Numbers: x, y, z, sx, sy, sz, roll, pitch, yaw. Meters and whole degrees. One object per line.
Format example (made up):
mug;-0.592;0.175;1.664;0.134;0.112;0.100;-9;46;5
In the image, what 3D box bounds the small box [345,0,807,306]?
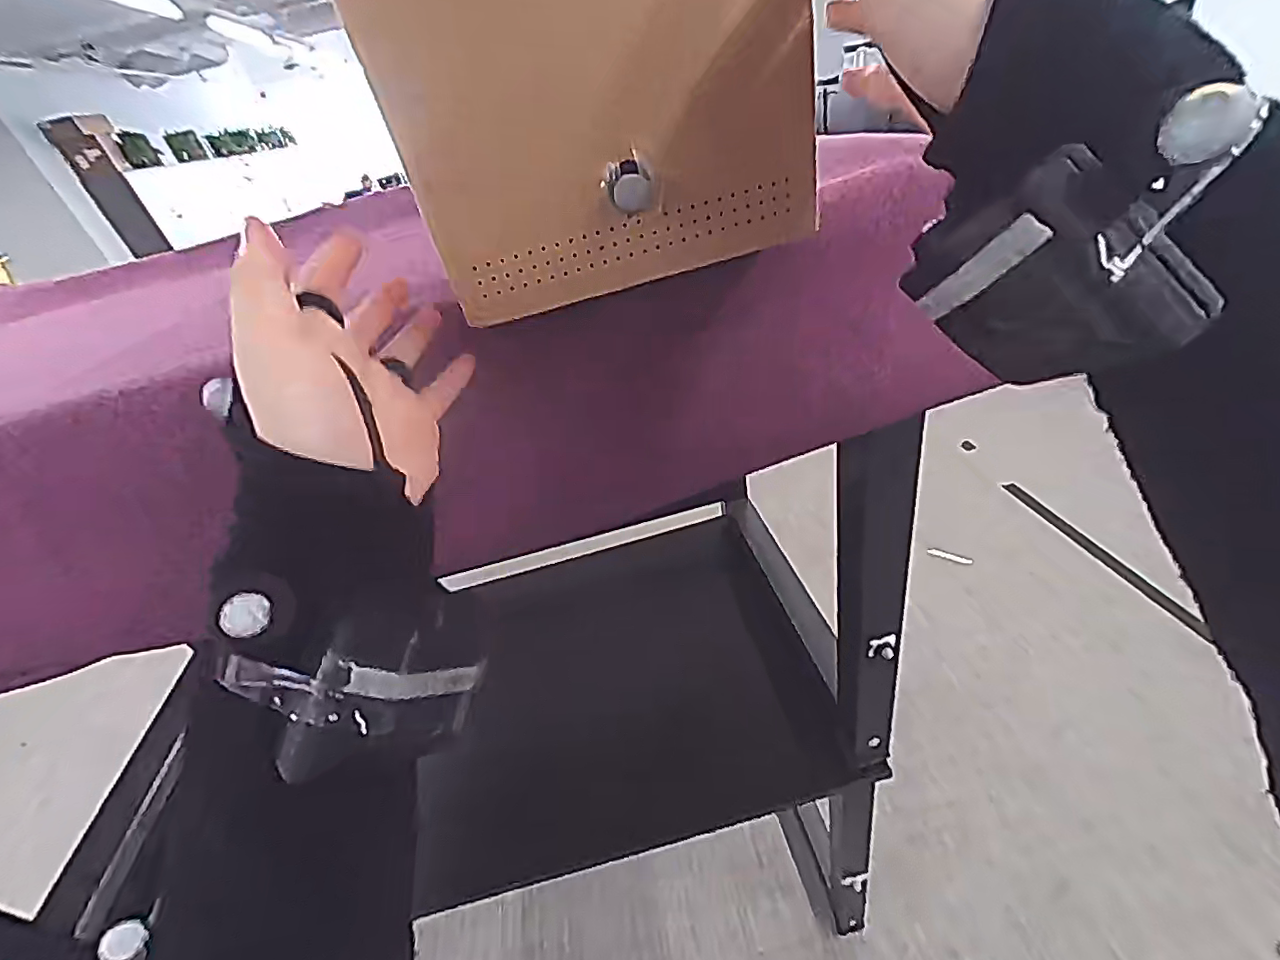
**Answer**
small box;-0.028;-0.208;0.272;0.179;0.176;0.168;-17;34;-2
